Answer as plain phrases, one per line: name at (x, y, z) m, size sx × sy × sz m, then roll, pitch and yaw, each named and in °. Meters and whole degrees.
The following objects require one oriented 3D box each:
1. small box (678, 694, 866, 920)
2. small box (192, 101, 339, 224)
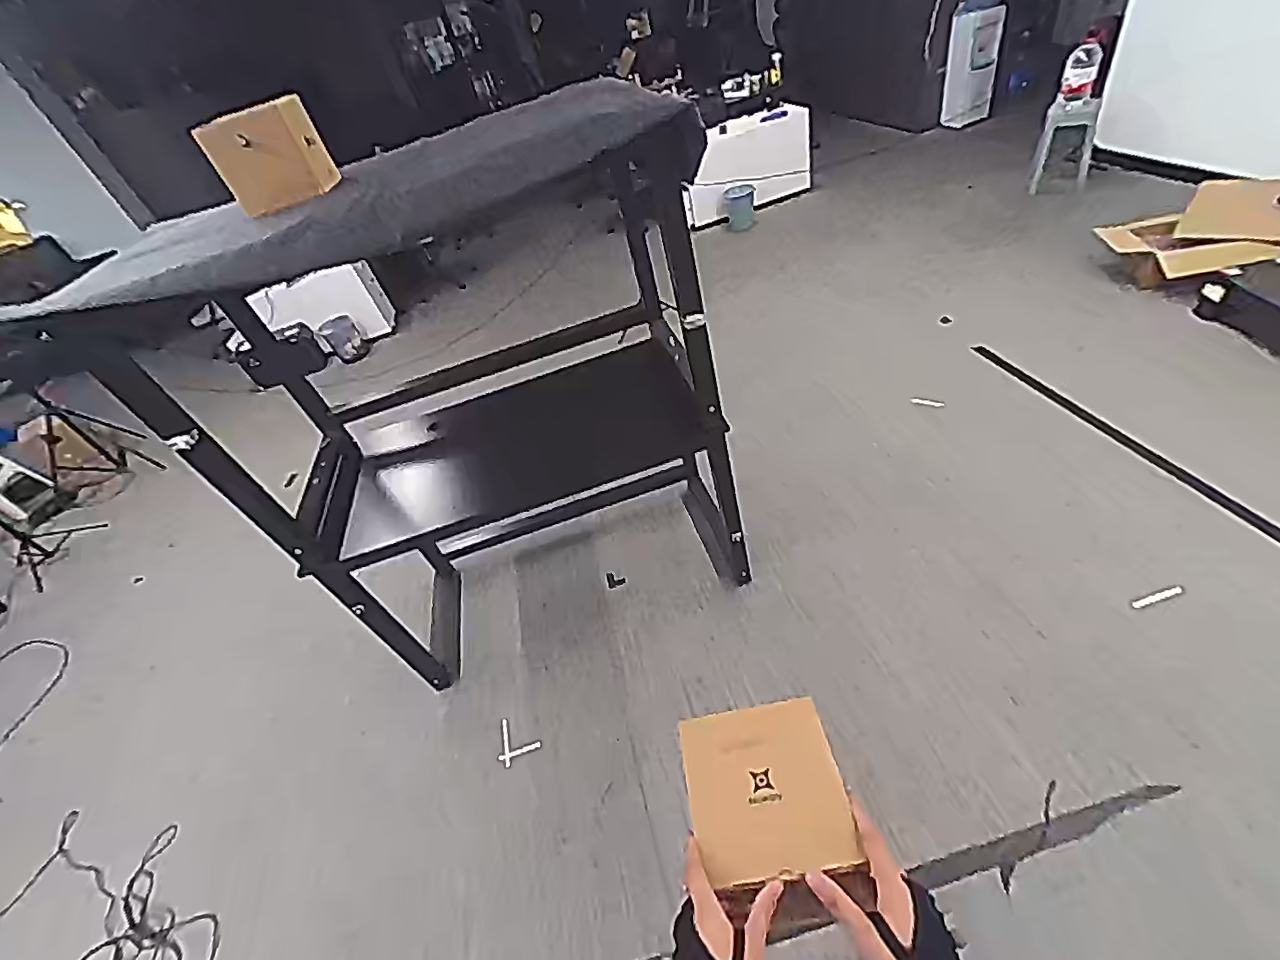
small box at (0.148, 0.386, 0.633) m, size 0.168 × 0.176 × 0.179 m, roll -12°, pitch 39°, yaw 3°
small box at (-0.780, -0.676, 1.152) m, size 0.179 × 0.176 × 0.168 m, roll -19°, pitch 42°, yaw 0°
